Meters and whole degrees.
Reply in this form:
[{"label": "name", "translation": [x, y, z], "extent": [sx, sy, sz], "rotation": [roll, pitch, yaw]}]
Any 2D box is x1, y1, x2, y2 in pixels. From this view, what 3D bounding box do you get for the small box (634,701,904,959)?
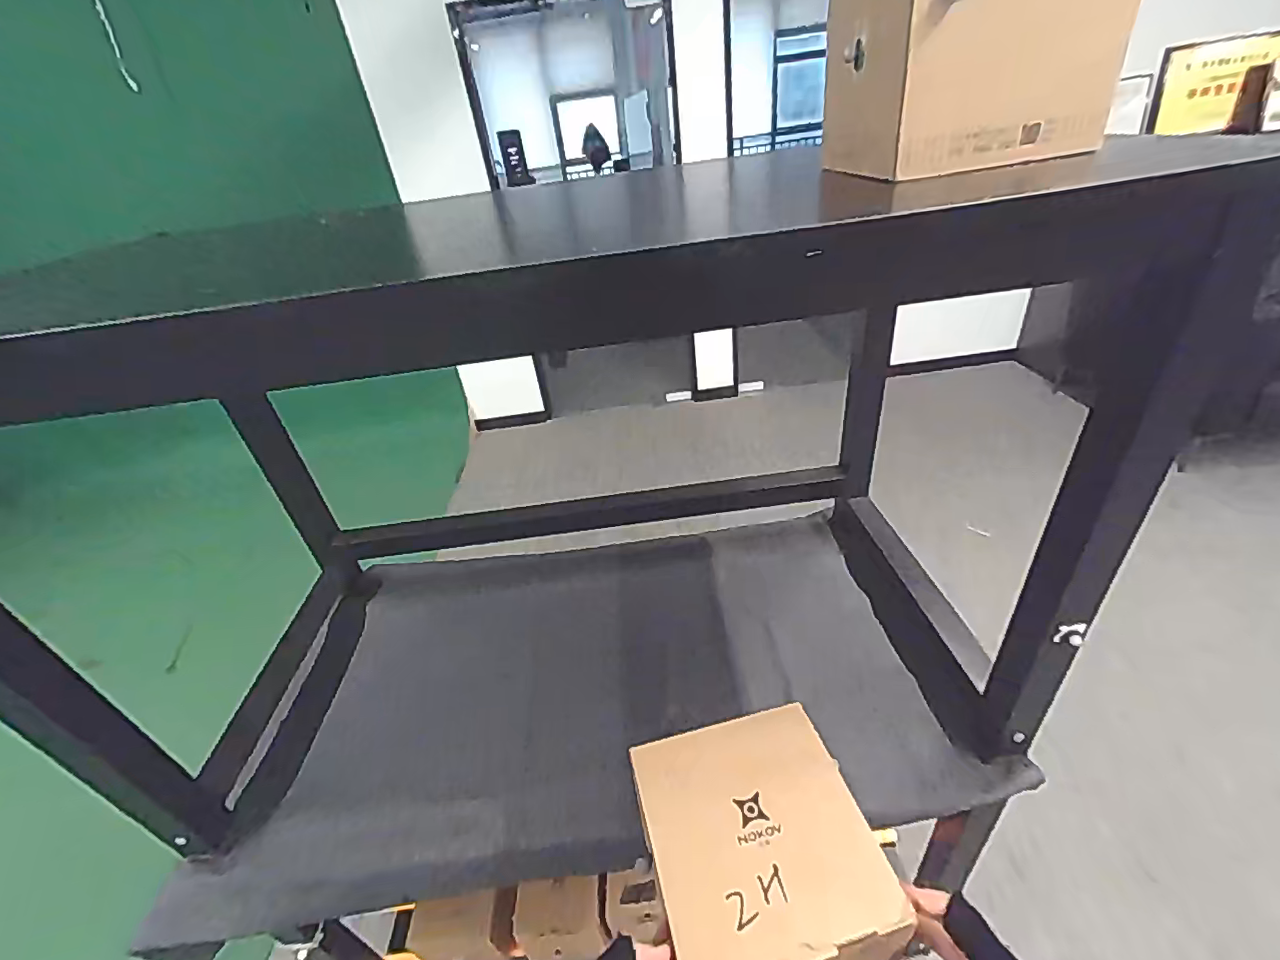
[{"label": "small box", "translation": [0.097, 0.337, 0.477], "extent": [0.168, 0.176, 0.179], "rotation": [-12, 31, -7]}]
